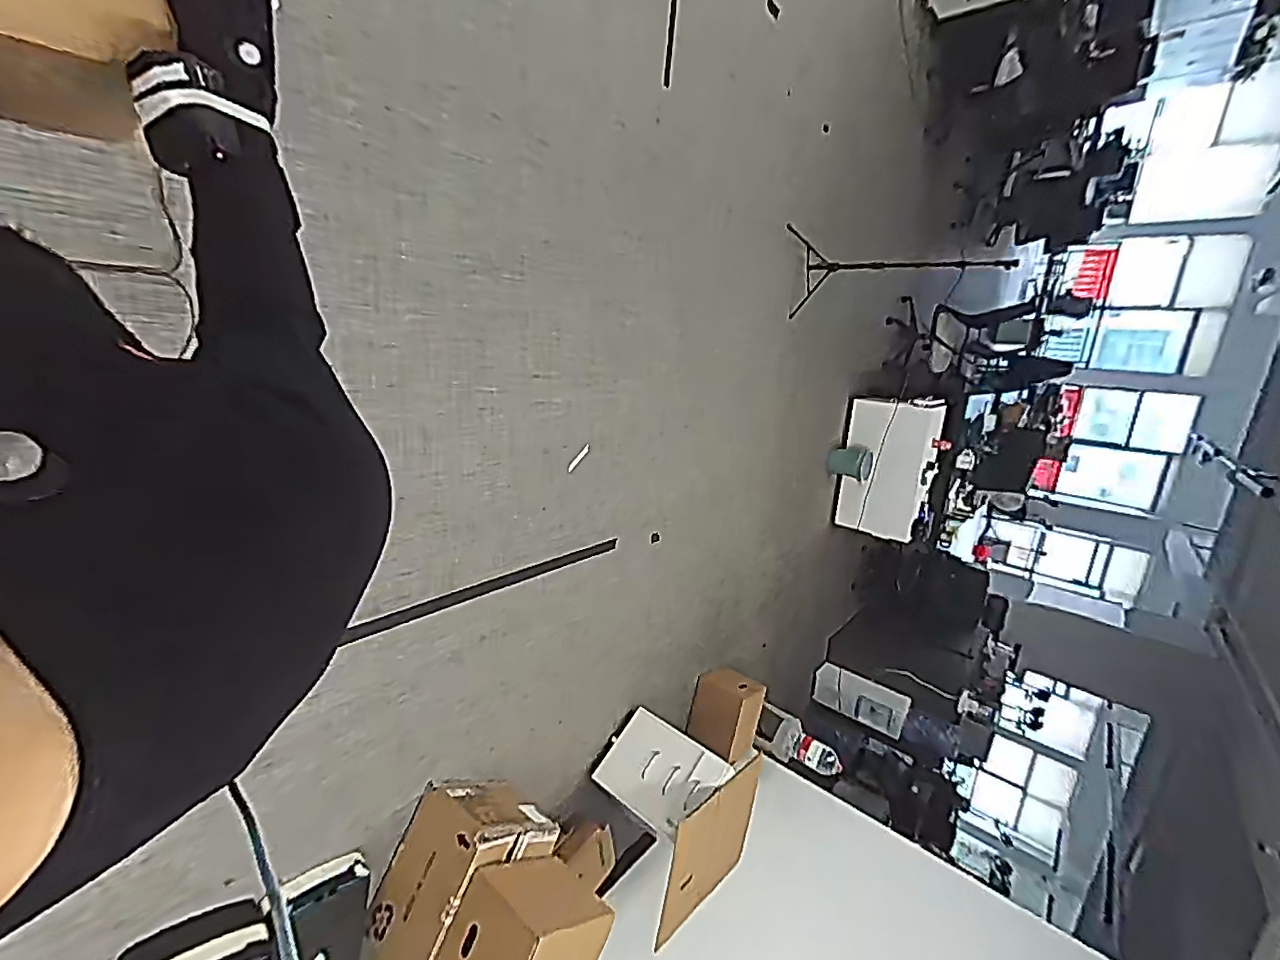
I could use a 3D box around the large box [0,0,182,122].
[{"bbox_3d":[-0.578,-0.453,0.307,0.408,0.320,0.320,-16,118,-48],"label":"large box"}]
